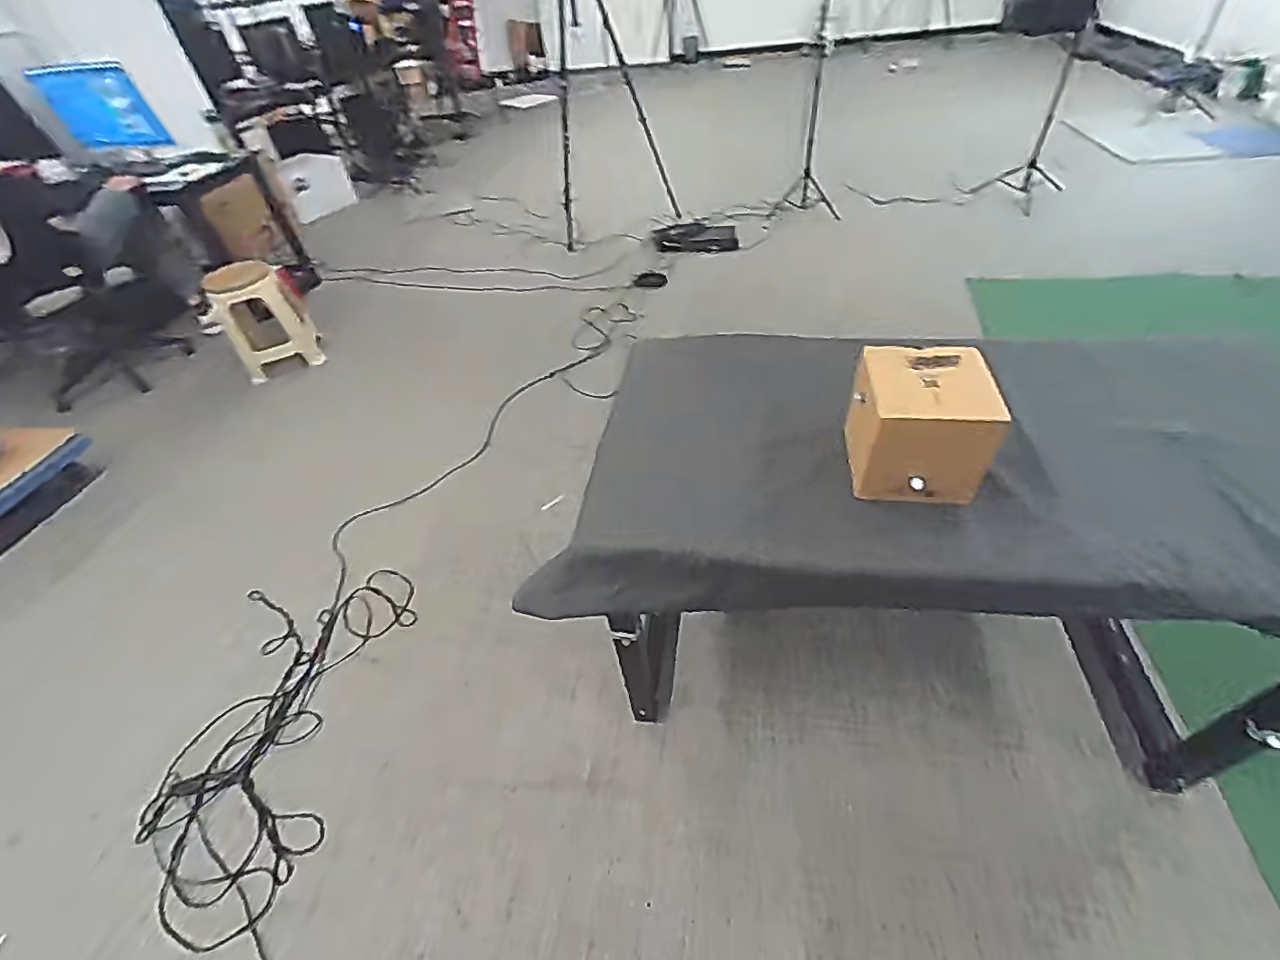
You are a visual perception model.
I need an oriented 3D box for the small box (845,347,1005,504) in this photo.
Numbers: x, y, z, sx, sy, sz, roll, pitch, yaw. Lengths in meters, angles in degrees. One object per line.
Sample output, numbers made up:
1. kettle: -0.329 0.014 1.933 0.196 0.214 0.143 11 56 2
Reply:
1. small box: 0.423 -0.086 0.840 0.168 0.176 0.179 3 46 10
